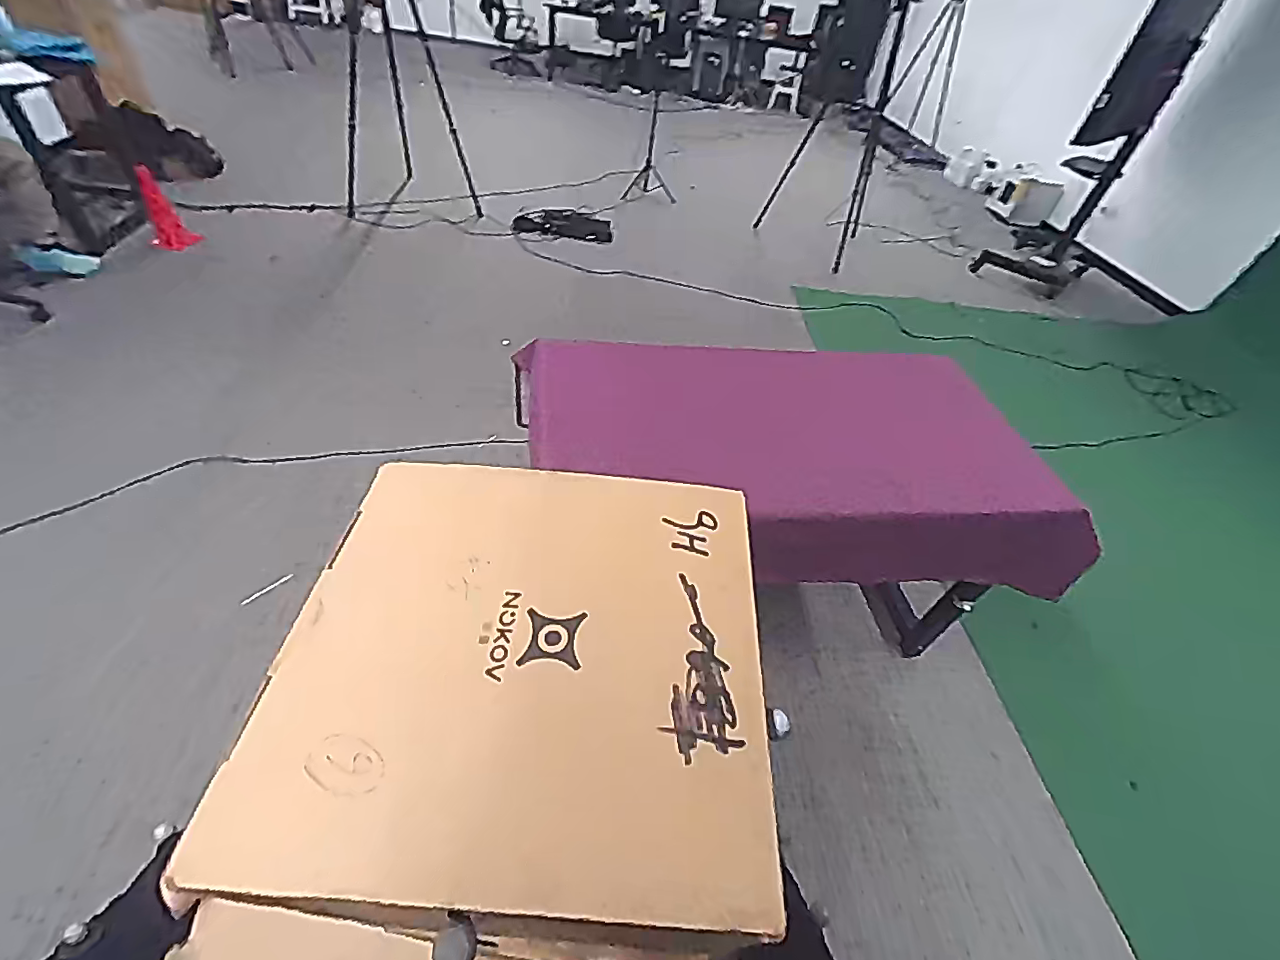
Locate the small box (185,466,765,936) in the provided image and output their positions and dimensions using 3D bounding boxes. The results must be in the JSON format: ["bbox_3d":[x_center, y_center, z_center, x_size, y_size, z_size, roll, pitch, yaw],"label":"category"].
[{"bbox_3d":[-0.047,0.112,0.269,0.179,0.176,0.168,4,49,0],"label":"small box"}]
